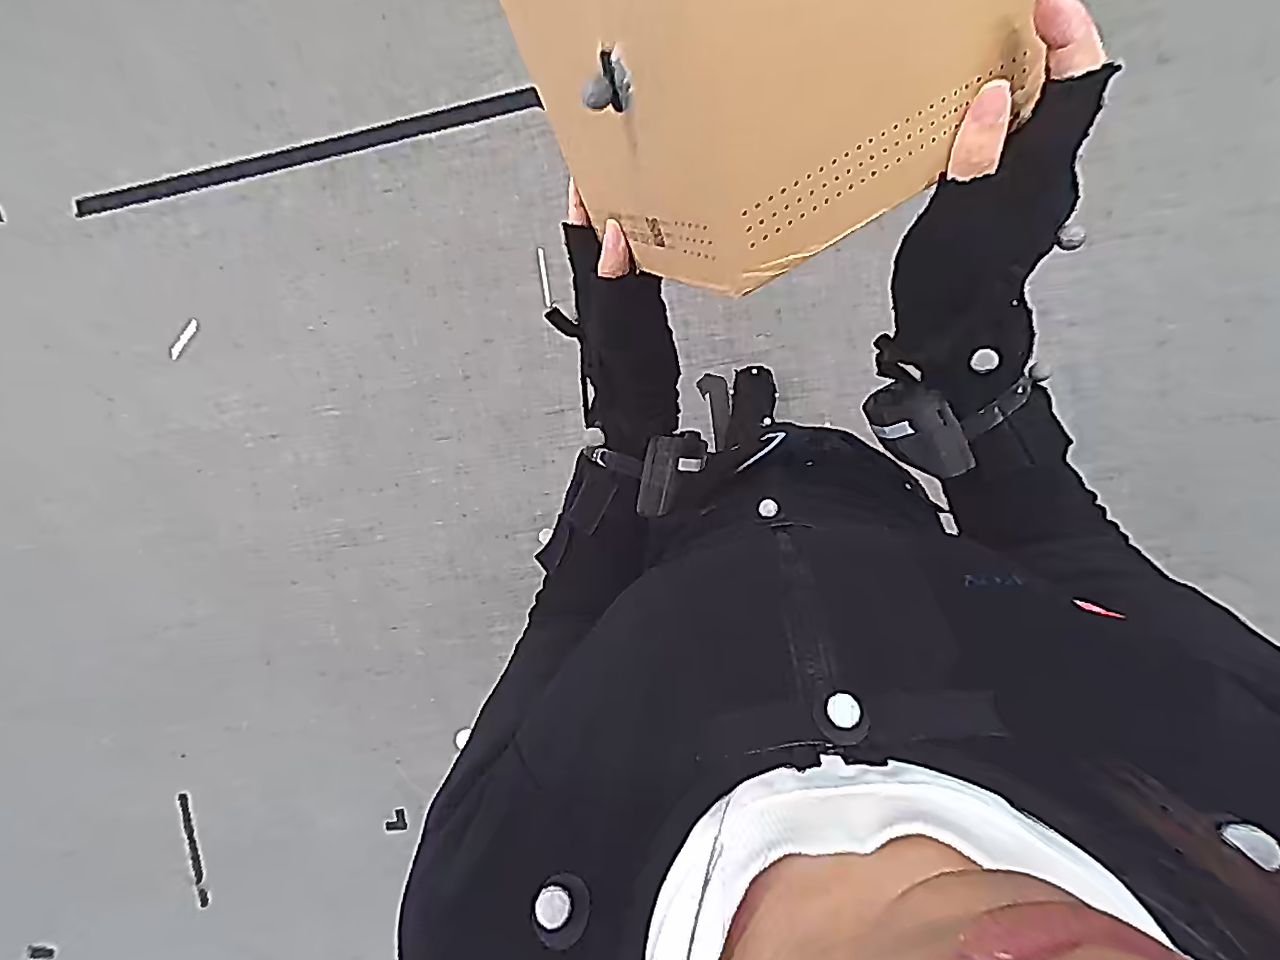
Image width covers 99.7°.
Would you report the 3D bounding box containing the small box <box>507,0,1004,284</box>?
[{"bbox_3d":[0.054,-0.223,0.275,0.179,0.168,0.176,-31,127,-6],"label":"small box"}]
